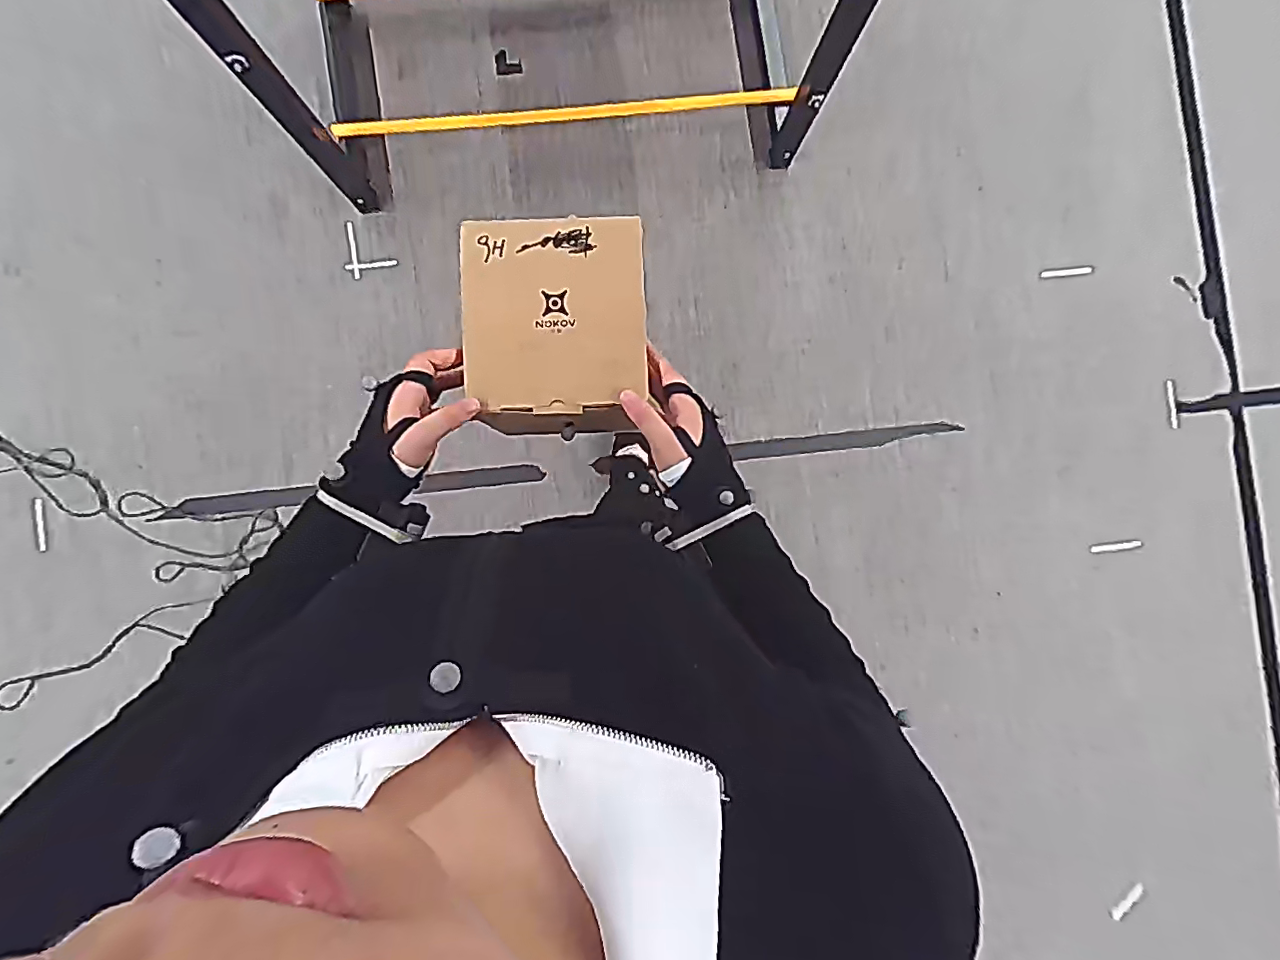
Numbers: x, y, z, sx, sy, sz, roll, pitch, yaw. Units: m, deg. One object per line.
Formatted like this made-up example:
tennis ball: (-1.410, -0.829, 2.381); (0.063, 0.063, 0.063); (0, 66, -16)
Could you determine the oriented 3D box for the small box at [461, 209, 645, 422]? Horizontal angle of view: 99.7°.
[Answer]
small box: (-0.079, -0.155, 0.567); (0.168, 0.176, 0.179); (-3, 88, -2)
